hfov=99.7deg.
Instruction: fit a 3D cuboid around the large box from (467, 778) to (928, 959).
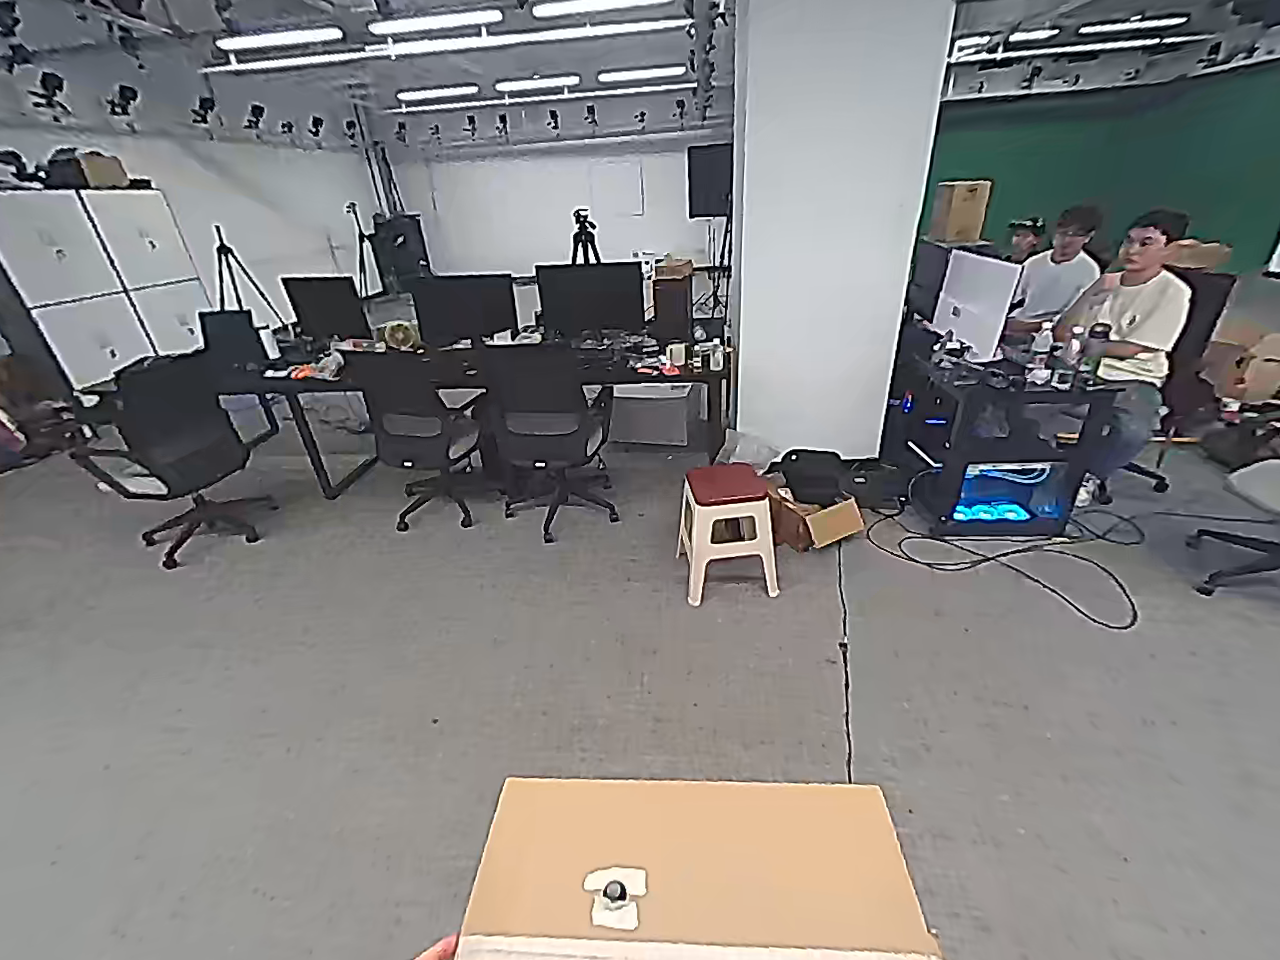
[{"bbox_3d":[0.059,0.537,0.538,0.408,0.320,0.320,-3,29,5],"label":"large box"}]
